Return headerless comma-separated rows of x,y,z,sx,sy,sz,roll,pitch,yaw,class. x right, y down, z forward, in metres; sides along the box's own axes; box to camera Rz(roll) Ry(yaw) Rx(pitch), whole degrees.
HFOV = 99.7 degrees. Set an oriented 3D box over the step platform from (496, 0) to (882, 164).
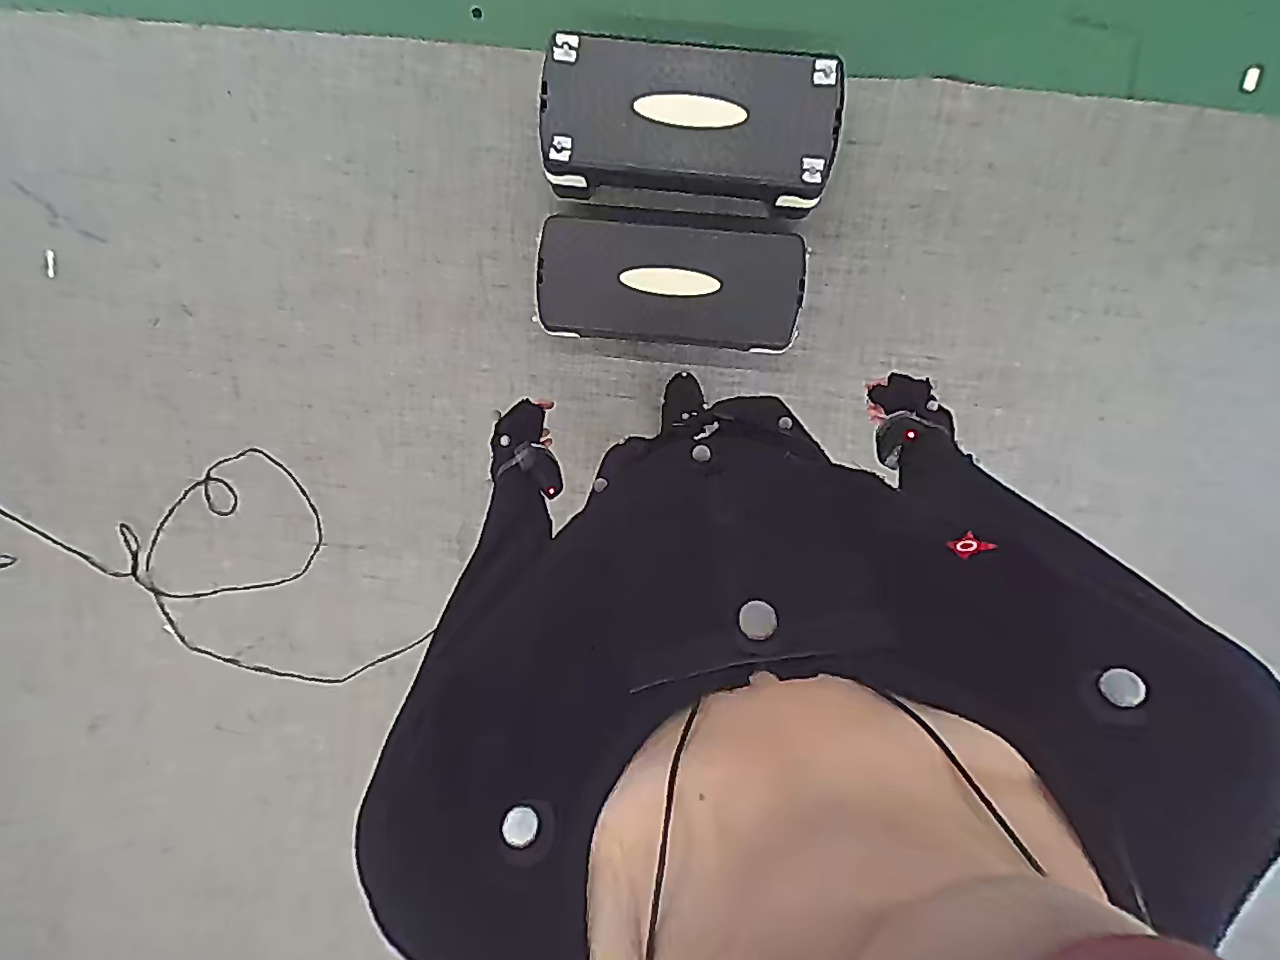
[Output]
0.085,-0.814,1.051,0.684,0.204,0.286,5,100,2,step platform
